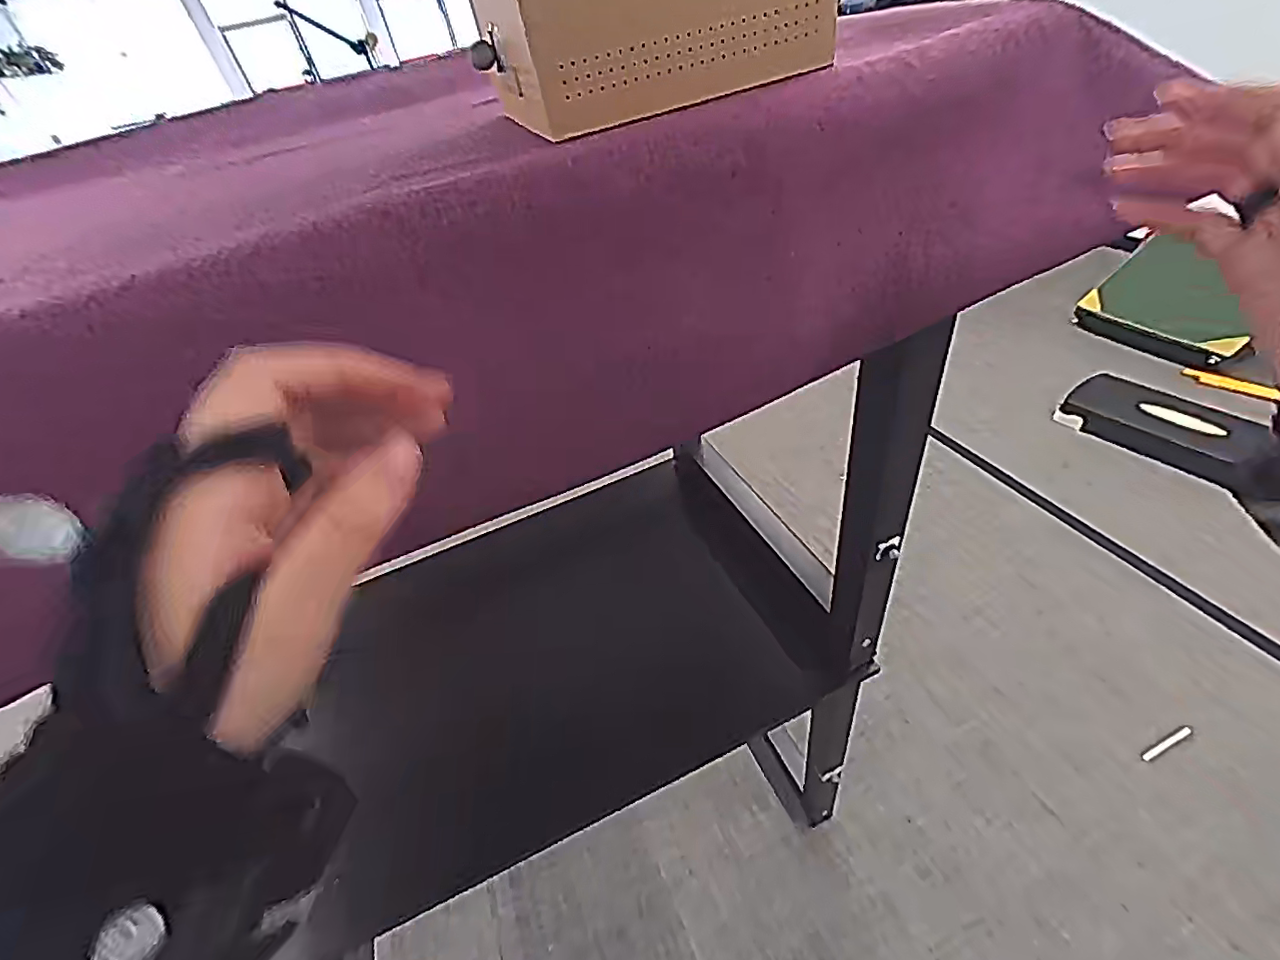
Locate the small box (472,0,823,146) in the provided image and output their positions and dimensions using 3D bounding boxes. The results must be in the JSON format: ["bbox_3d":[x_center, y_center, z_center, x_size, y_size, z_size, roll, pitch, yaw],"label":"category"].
[{"bbox_3d":[-0.008,-0.310,0.300,0.179,0.176,0.168,-22,42,-9],"label":"small box"}]
